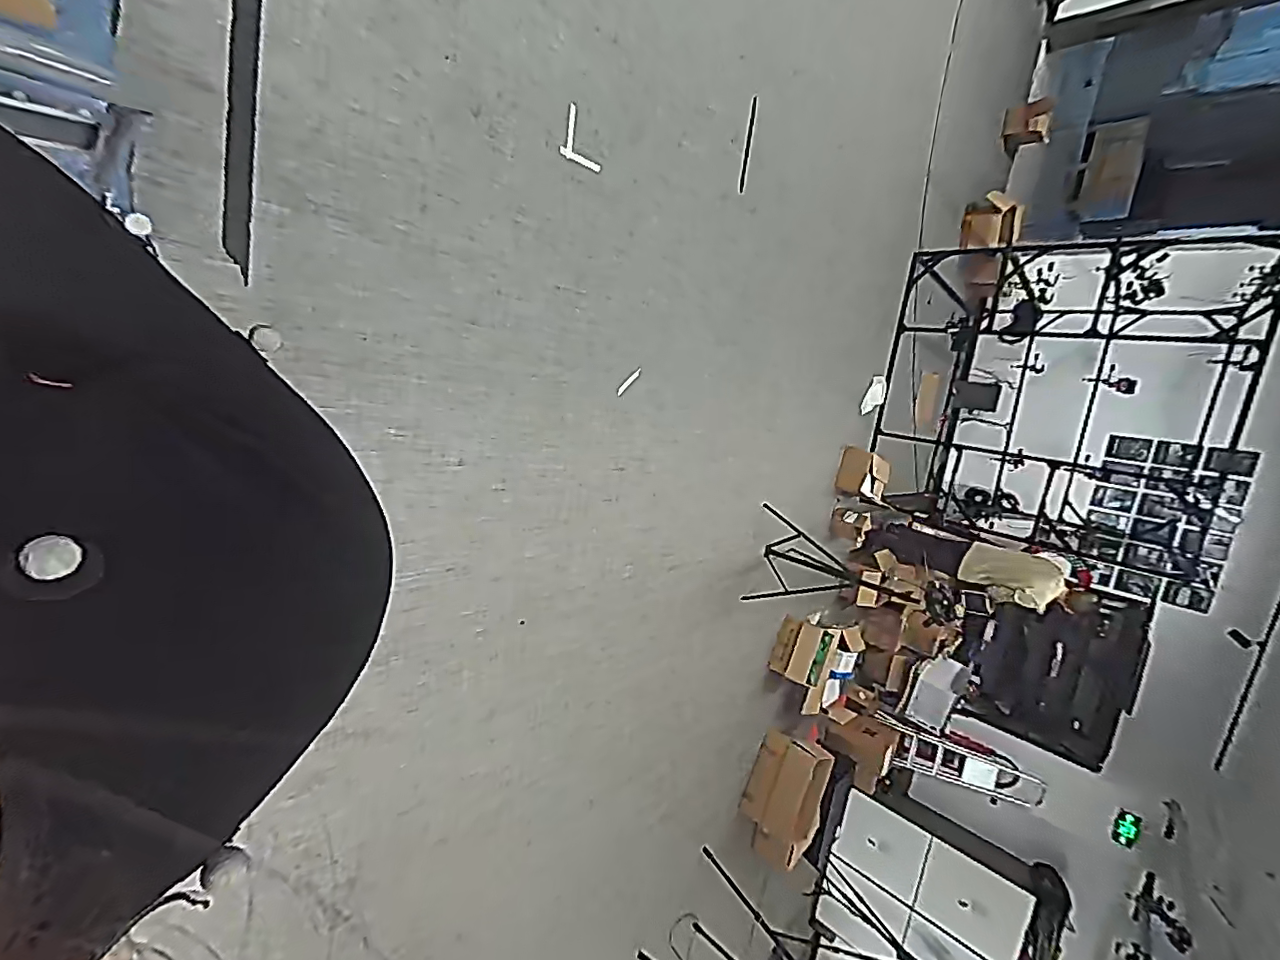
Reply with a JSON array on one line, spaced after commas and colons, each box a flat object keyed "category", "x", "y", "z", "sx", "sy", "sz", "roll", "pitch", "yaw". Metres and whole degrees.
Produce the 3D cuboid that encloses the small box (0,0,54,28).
[{"category": "small box", "x": -0.890, "y": -0.727, "z": 0.691, "sx": 0.179, "sy": 0.176, "sz": 0.168, "roll": -13, "pitch": 112, "yaw": -46}]
